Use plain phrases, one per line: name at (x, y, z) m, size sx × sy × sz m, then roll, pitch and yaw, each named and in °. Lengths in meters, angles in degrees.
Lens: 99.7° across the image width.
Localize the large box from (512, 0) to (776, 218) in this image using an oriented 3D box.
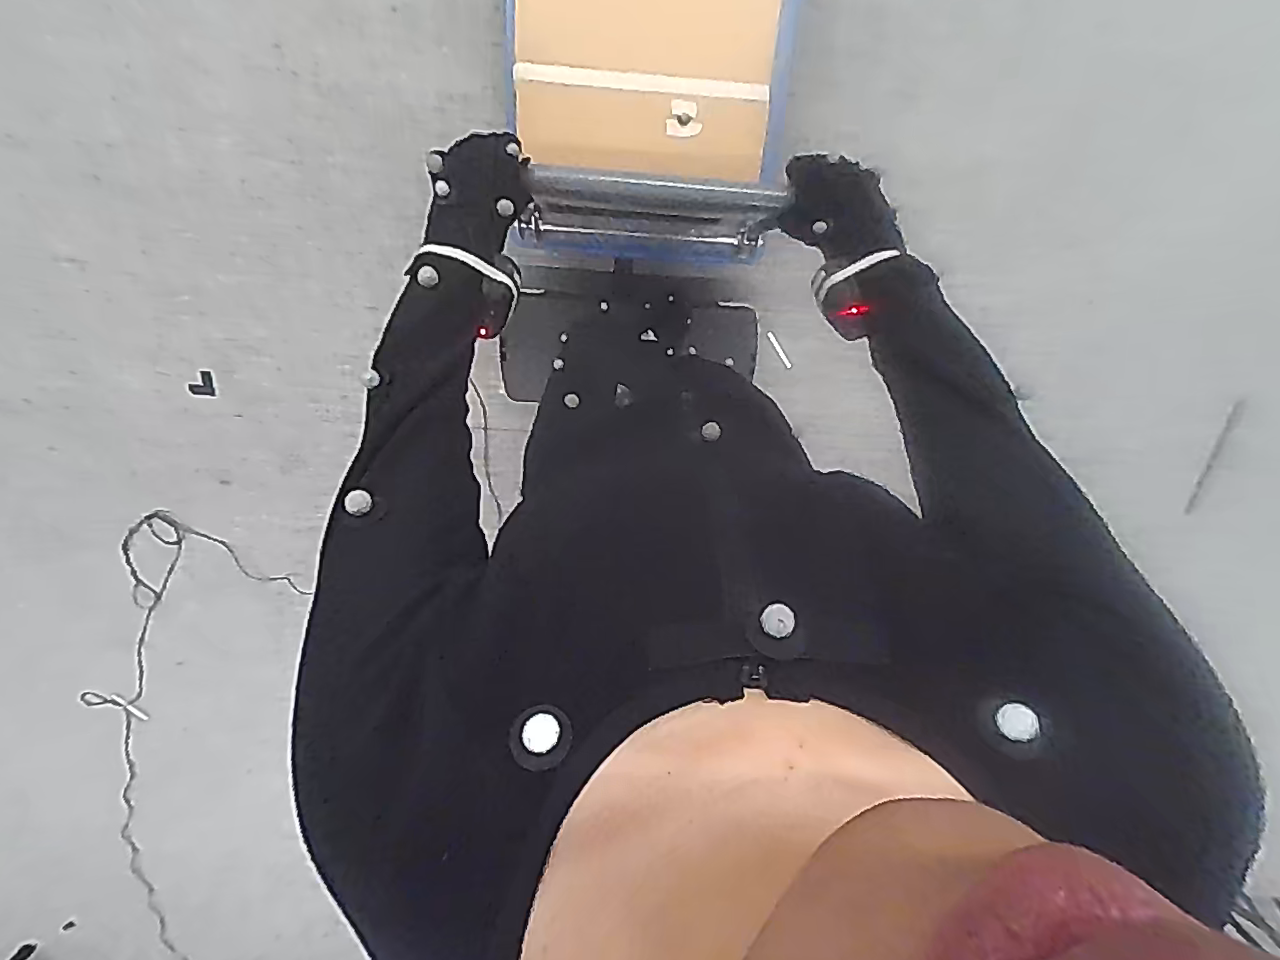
large box at (-0.007, -0.672, 0.991) m, size 0.408 × 0.320 × 0.320 m, roll 2°, pitch 112°, yaw -4°
